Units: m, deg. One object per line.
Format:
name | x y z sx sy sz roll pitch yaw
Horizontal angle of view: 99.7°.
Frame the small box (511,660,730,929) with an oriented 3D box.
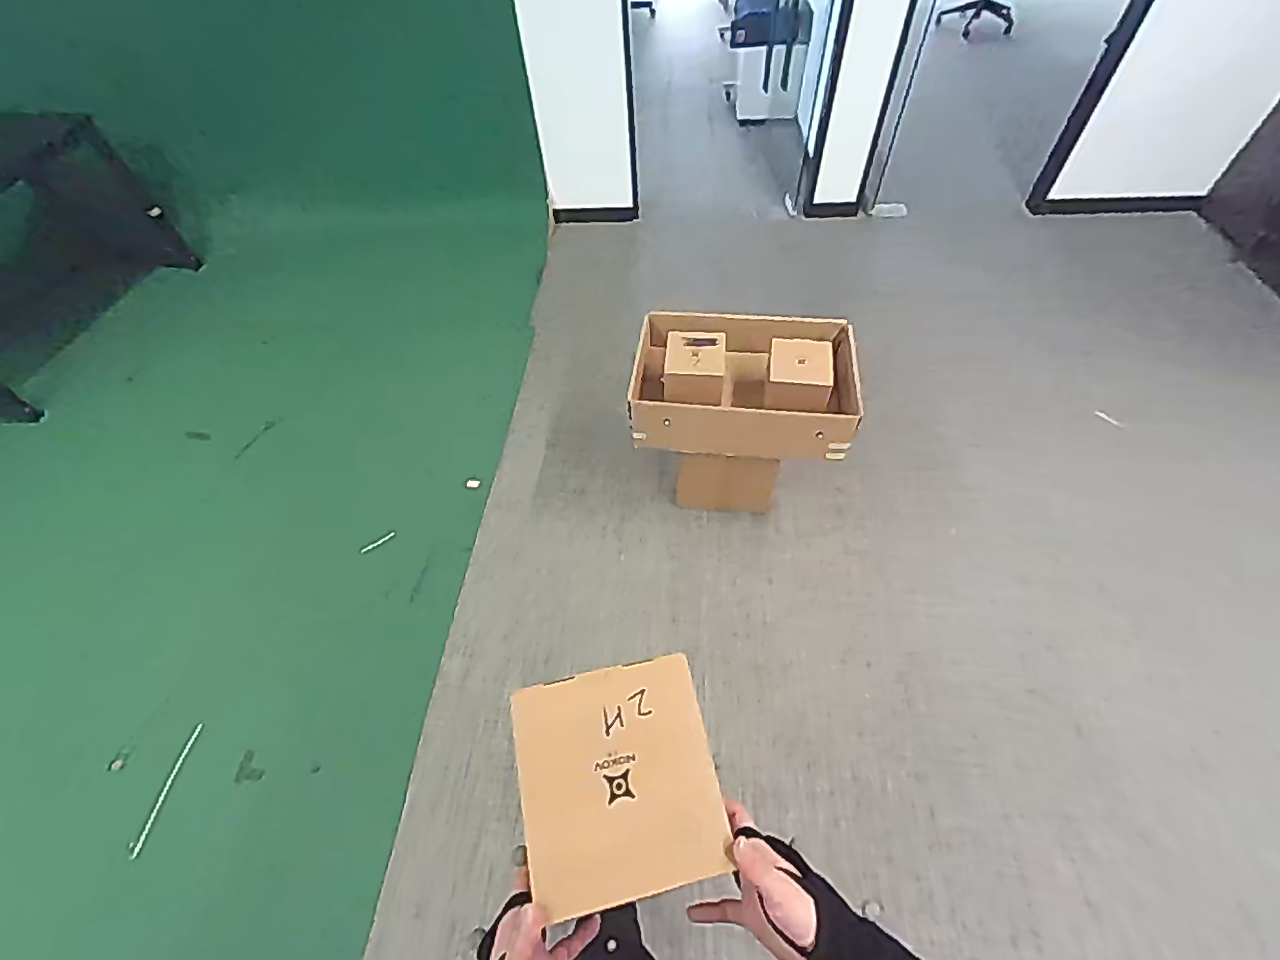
small box | -0.025 0.293 0.529 0.168 0.176 0.179 -9 61 -9
